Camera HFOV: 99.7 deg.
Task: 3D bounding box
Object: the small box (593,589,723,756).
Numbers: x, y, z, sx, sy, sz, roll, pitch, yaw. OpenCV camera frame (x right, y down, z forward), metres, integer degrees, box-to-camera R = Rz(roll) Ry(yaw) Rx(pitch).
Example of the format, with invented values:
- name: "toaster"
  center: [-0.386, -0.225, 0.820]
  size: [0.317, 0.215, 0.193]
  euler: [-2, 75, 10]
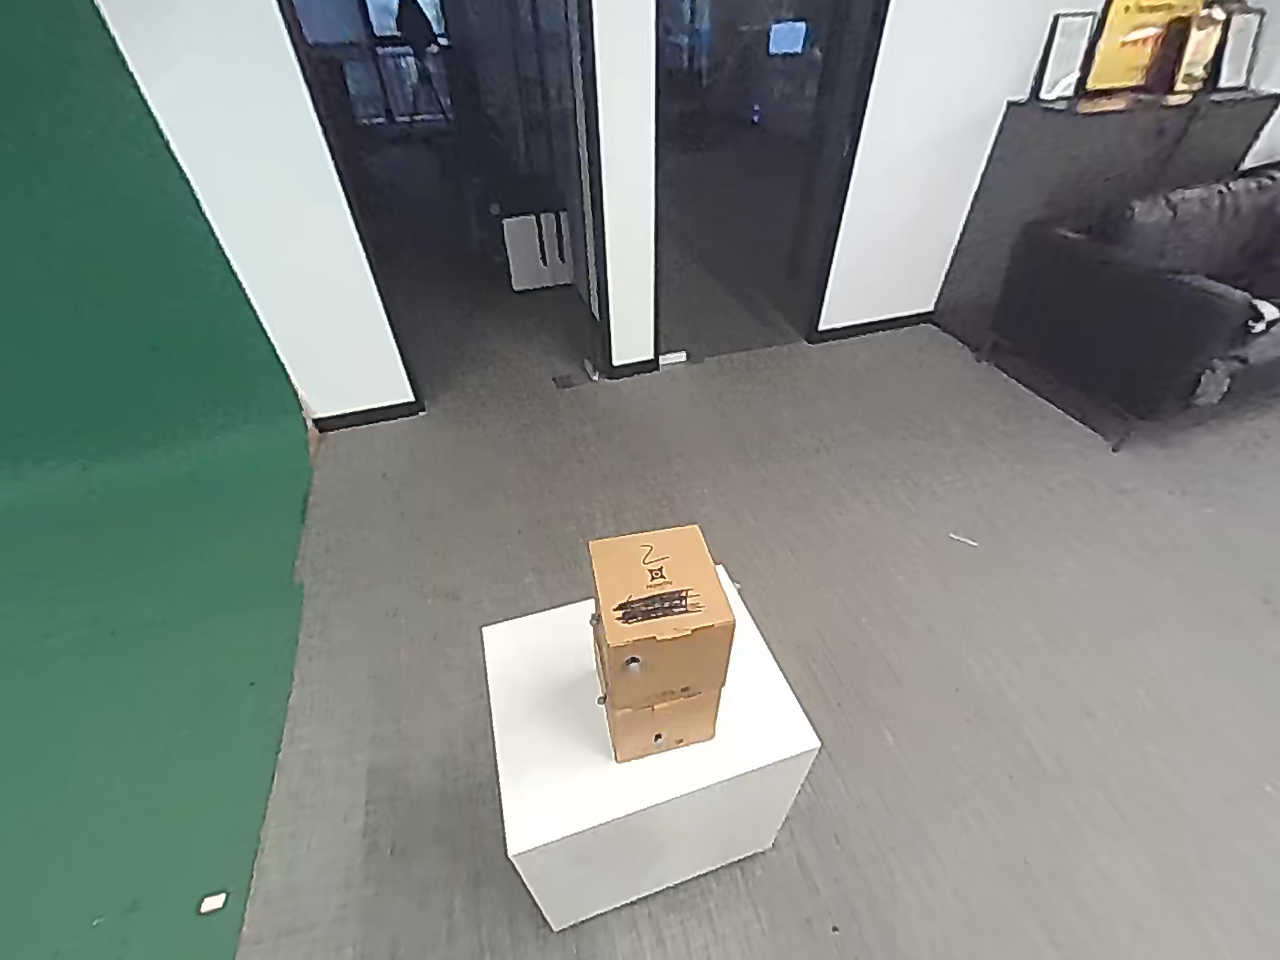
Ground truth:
- name: "small box"
  center: [0.022, 0.308, 0.873]
  size: [0.168, 0.176, 0.179]
  euler: [-10, 41, -10]
